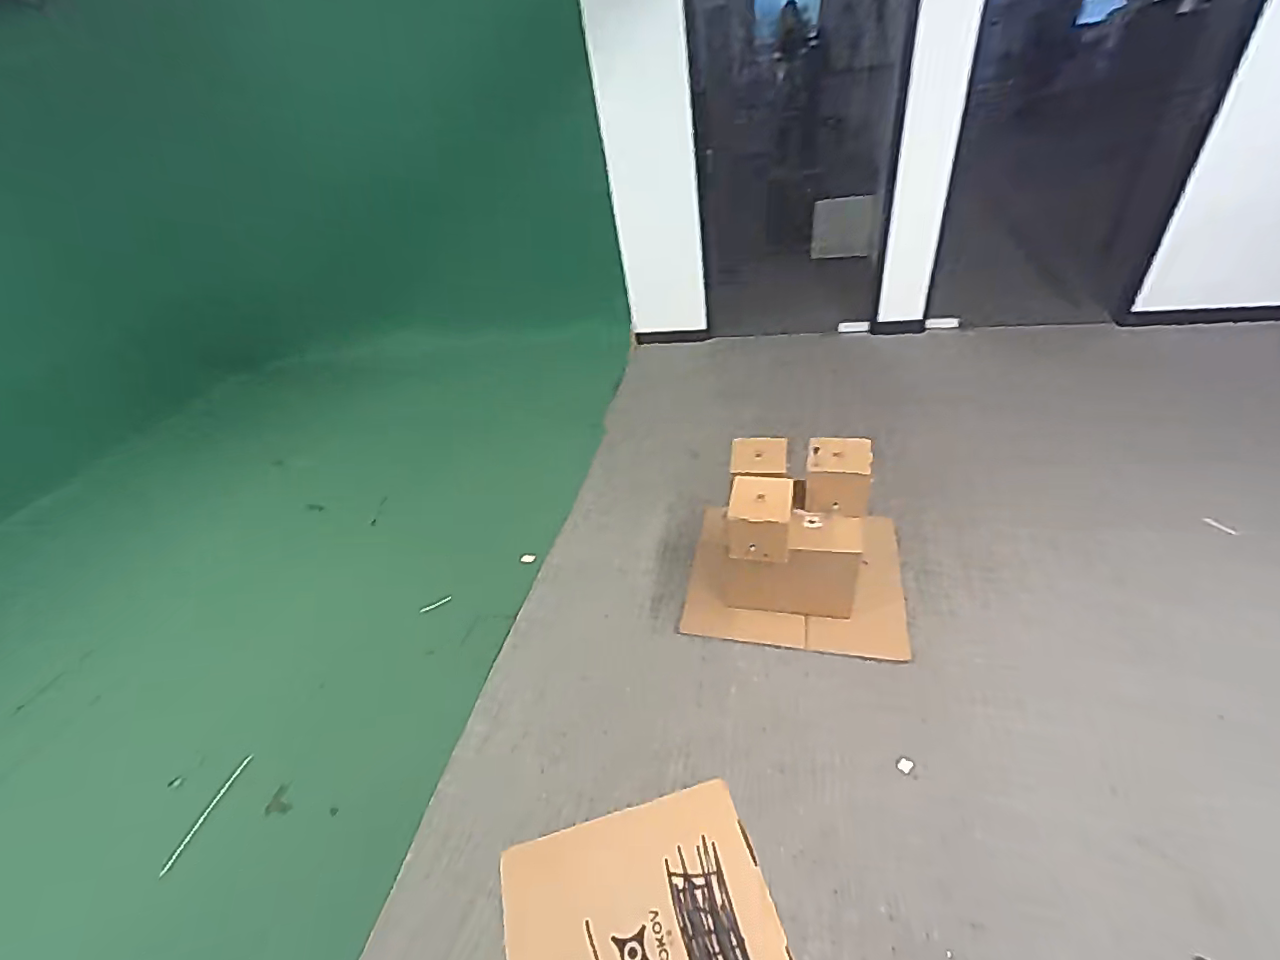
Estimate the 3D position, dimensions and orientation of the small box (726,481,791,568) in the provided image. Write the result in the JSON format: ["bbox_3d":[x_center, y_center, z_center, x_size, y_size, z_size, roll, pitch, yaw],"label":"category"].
[{"bbox_3d":[0.343,0.126,1.557,0.168,0.176,0.179,4,43,16],"label":"small box"}]

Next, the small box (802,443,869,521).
[{"bbox_3d":[0.592,0.007,1.642,0.179,0.176,0.168,5,41,19],"label":"small box"}]
